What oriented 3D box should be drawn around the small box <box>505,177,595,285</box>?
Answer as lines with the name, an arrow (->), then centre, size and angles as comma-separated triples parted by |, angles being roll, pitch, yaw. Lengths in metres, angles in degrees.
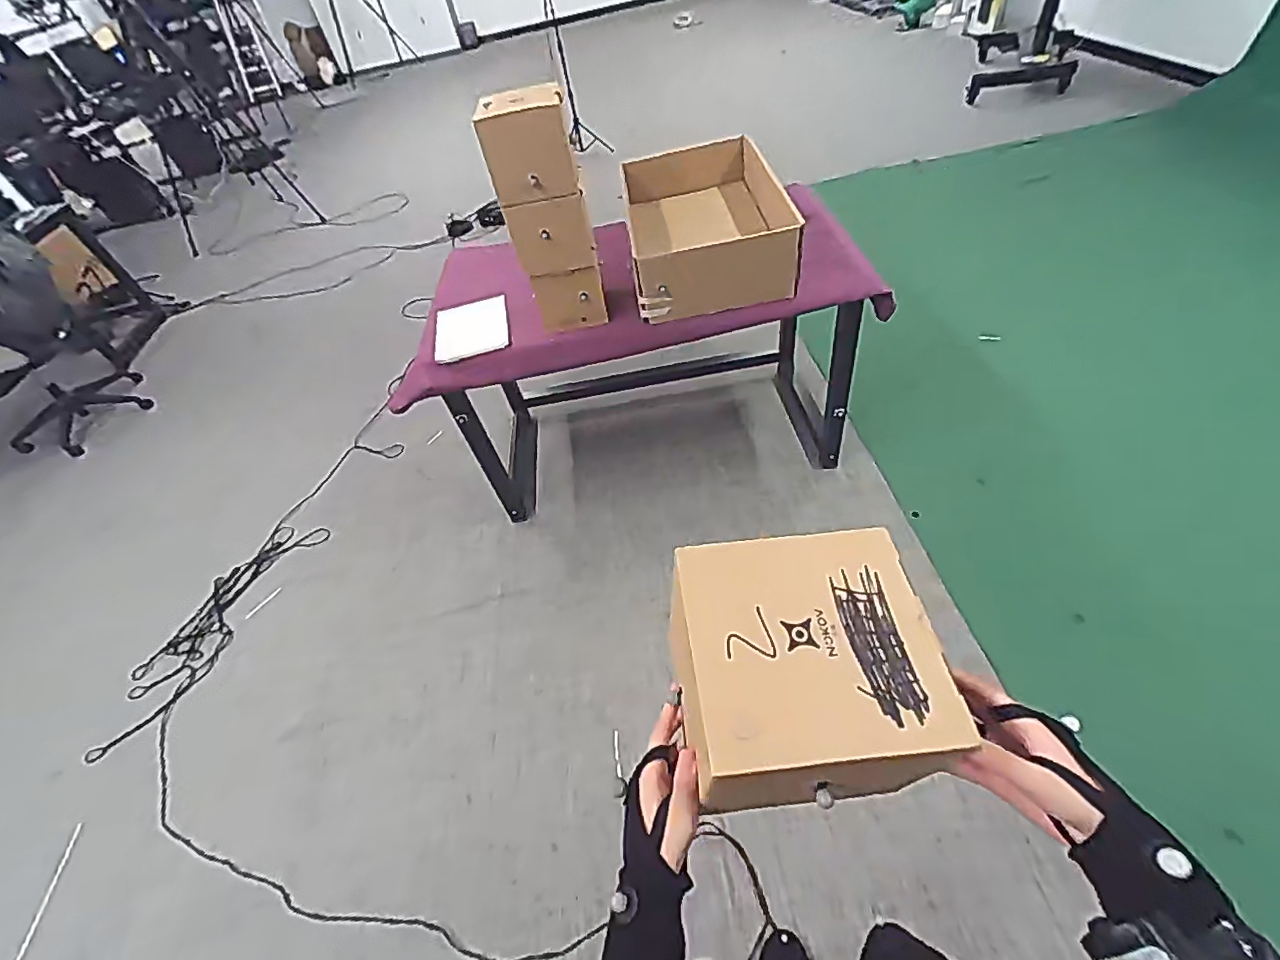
small box -> -0.205, -0.592, 1.290 | 0.179, 0.176, 0.168 | -9, 47, 4

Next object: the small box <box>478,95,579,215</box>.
small box -> -0.230, -0.700, 1.169 | 0.179, 0.176, 0.168 | -9, 46, 2

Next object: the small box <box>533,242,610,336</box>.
small box -> -0.174, -0.492, 1.417 | 0.168, 0.176, 0.179 | -9, 47, 3
